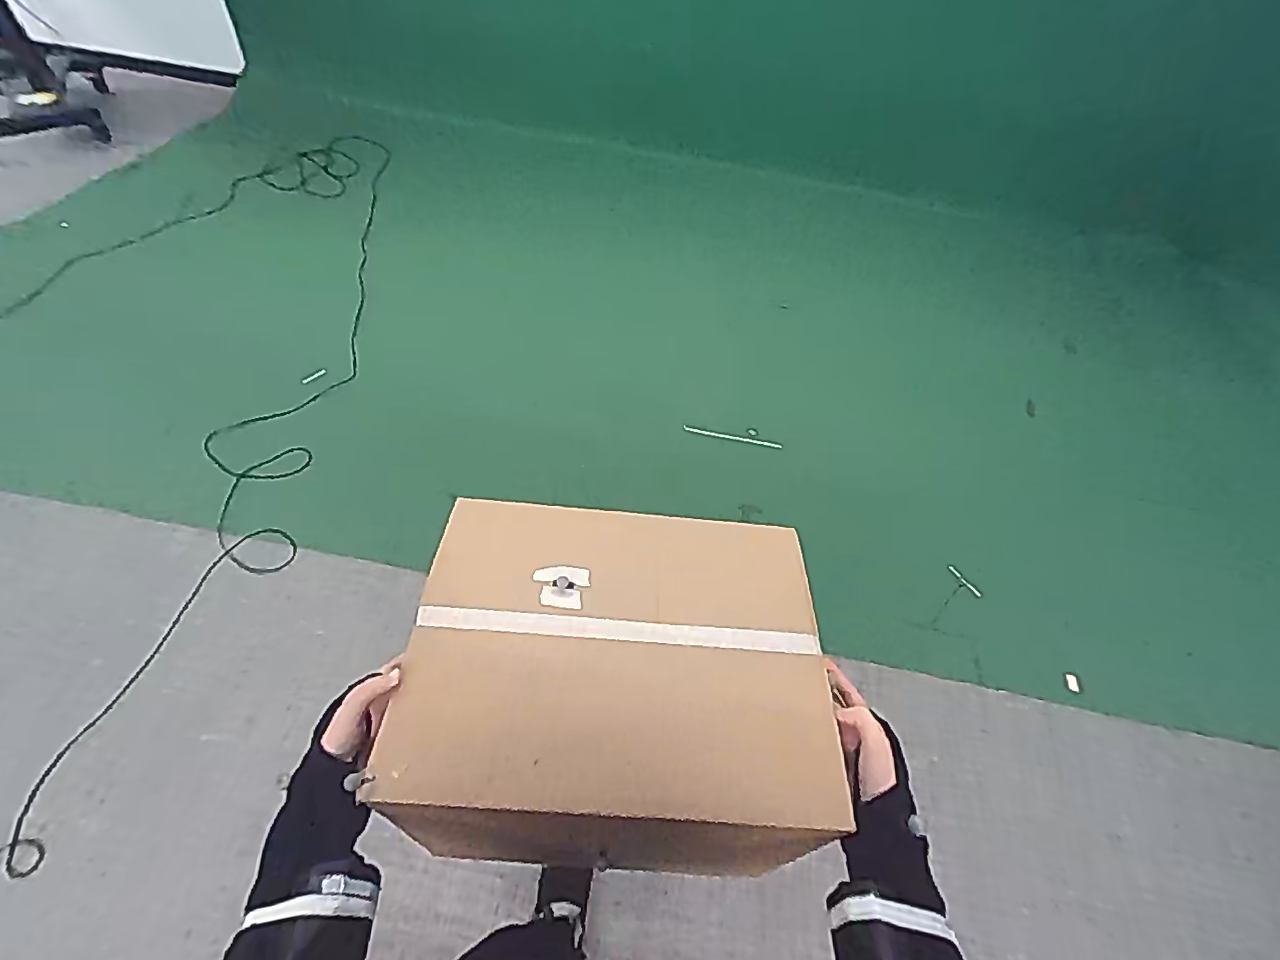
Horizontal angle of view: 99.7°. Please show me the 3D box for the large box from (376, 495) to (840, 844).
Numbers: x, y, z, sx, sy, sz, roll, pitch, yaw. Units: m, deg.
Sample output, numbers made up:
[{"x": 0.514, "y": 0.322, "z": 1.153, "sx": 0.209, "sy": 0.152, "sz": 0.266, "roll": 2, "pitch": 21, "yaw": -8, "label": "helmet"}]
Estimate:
[{"x": -0.029, "y": 0.243, "z": 0.666, "sx": 0.408, "sy": 0.320, "sz": 0.320, "roll": 5, "pitch": 49, "yaw": -2, "label": "large box"}]
